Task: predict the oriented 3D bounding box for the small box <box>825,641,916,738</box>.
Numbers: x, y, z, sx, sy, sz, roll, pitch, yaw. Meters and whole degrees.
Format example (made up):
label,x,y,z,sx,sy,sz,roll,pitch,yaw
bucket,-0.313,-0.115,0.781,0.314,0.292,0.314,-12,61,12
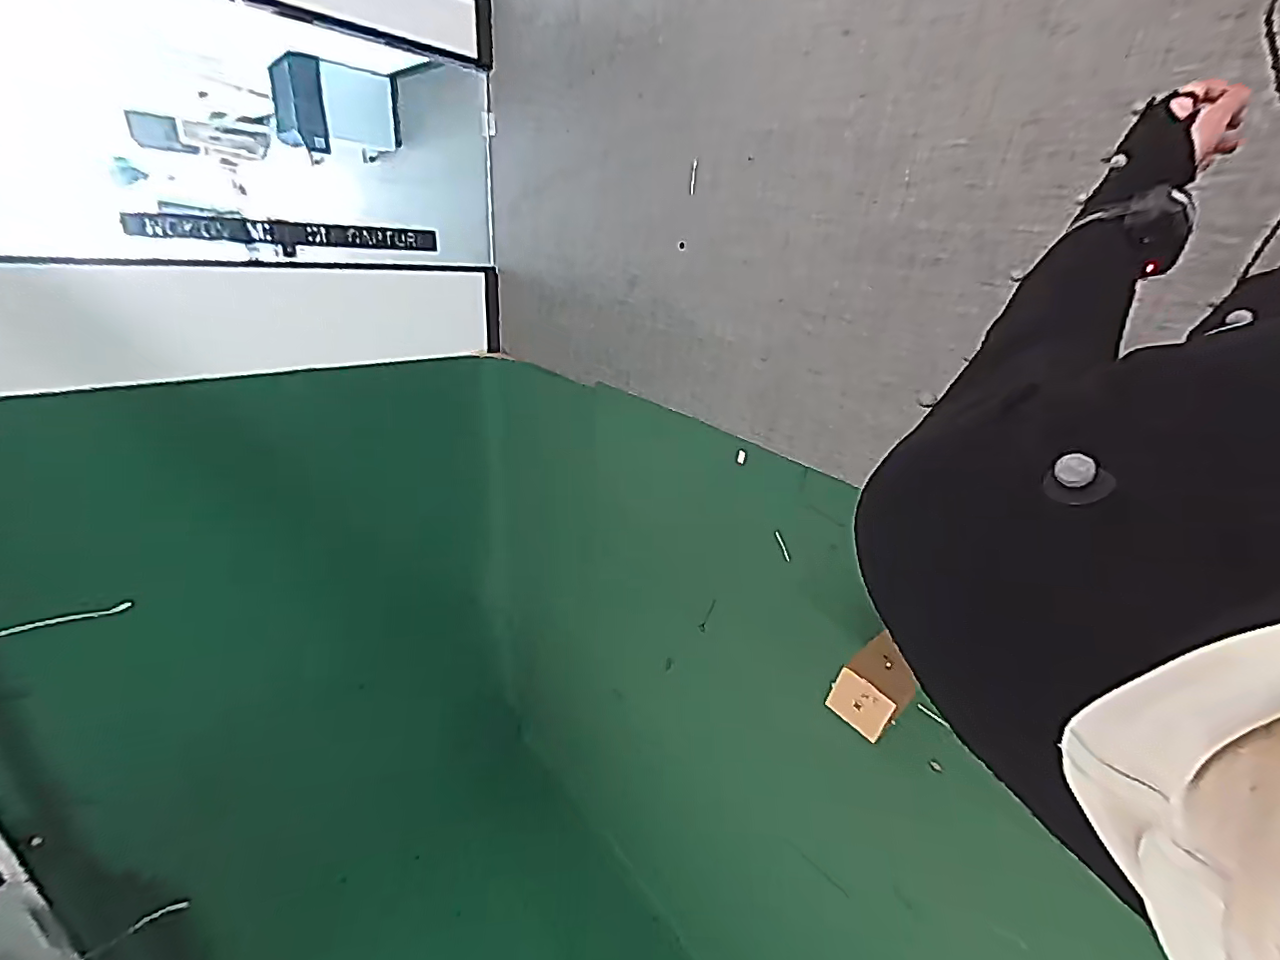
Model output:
label,x,y,z,sx,sy,sz,roll,pitch,yaw
small box,0.693,0.623,1.622,0.168,0.176,0.179,35,127,36
